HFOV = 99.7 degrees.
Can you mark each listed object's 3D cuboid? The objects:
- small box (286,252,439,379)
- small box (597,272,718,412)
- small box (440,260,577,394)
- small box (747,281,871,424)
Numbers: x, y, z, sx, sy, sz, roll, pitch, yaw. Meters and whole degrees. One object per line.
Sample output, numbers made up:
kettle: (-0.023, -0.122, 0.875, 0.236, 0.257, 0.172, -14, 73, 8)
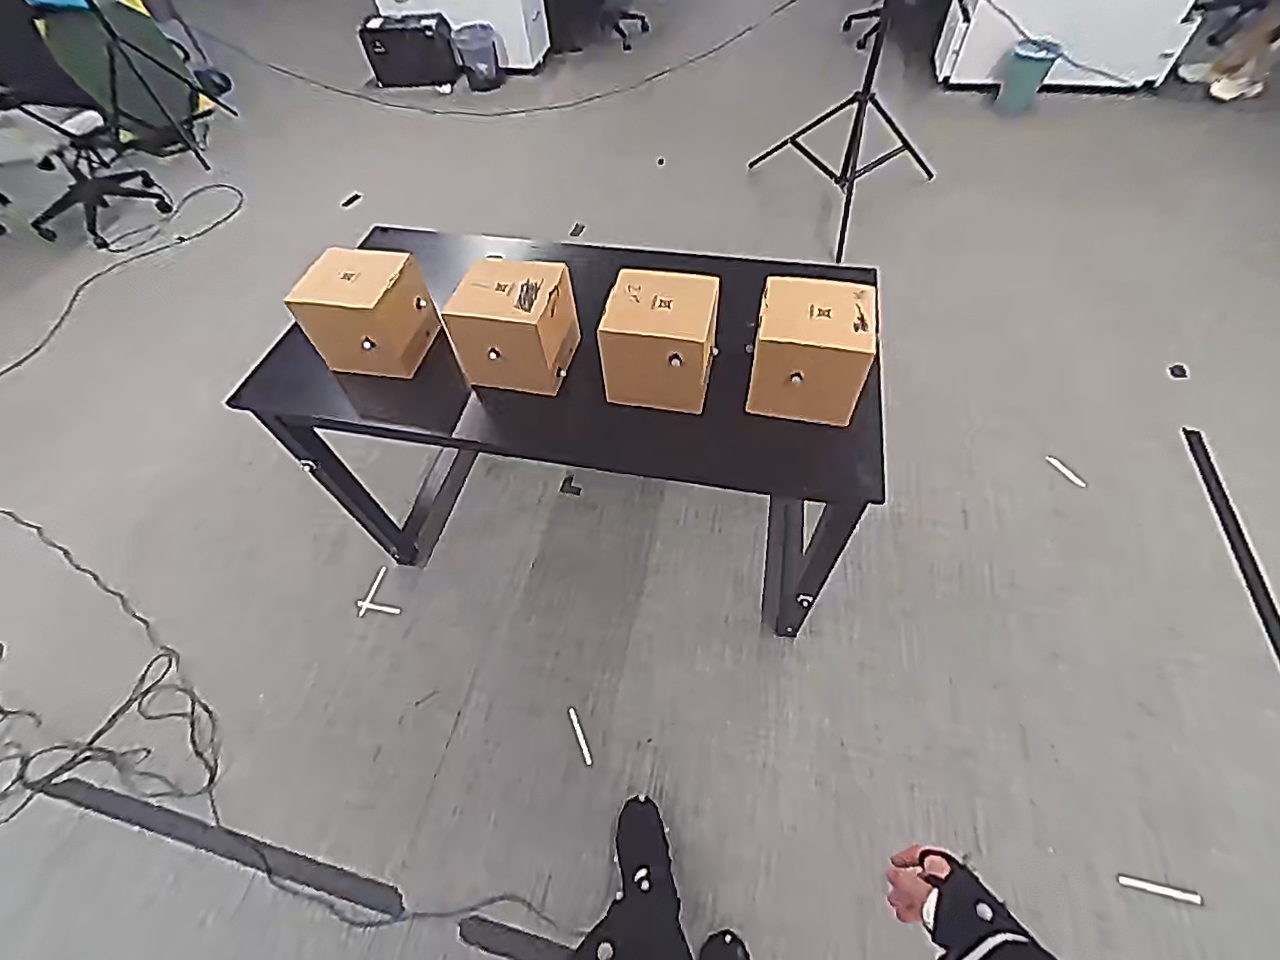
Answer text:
small box: (-0.518, -0.313, 1.043, 0.179, 0.176, 0.168, 6, 55, 8)
small box: (0.035, -0.239, 0.953, 0.179, 0.176, 0.168, 8, 56, 9)
small box: (-0.228, -0.278, 0.998, 0.179, 0.176, 0.168, 9, 56, 11)
small box: (0.281, -0.214, 0.920, 0.179, 0.176, 0.168, 9, 56, 11)
